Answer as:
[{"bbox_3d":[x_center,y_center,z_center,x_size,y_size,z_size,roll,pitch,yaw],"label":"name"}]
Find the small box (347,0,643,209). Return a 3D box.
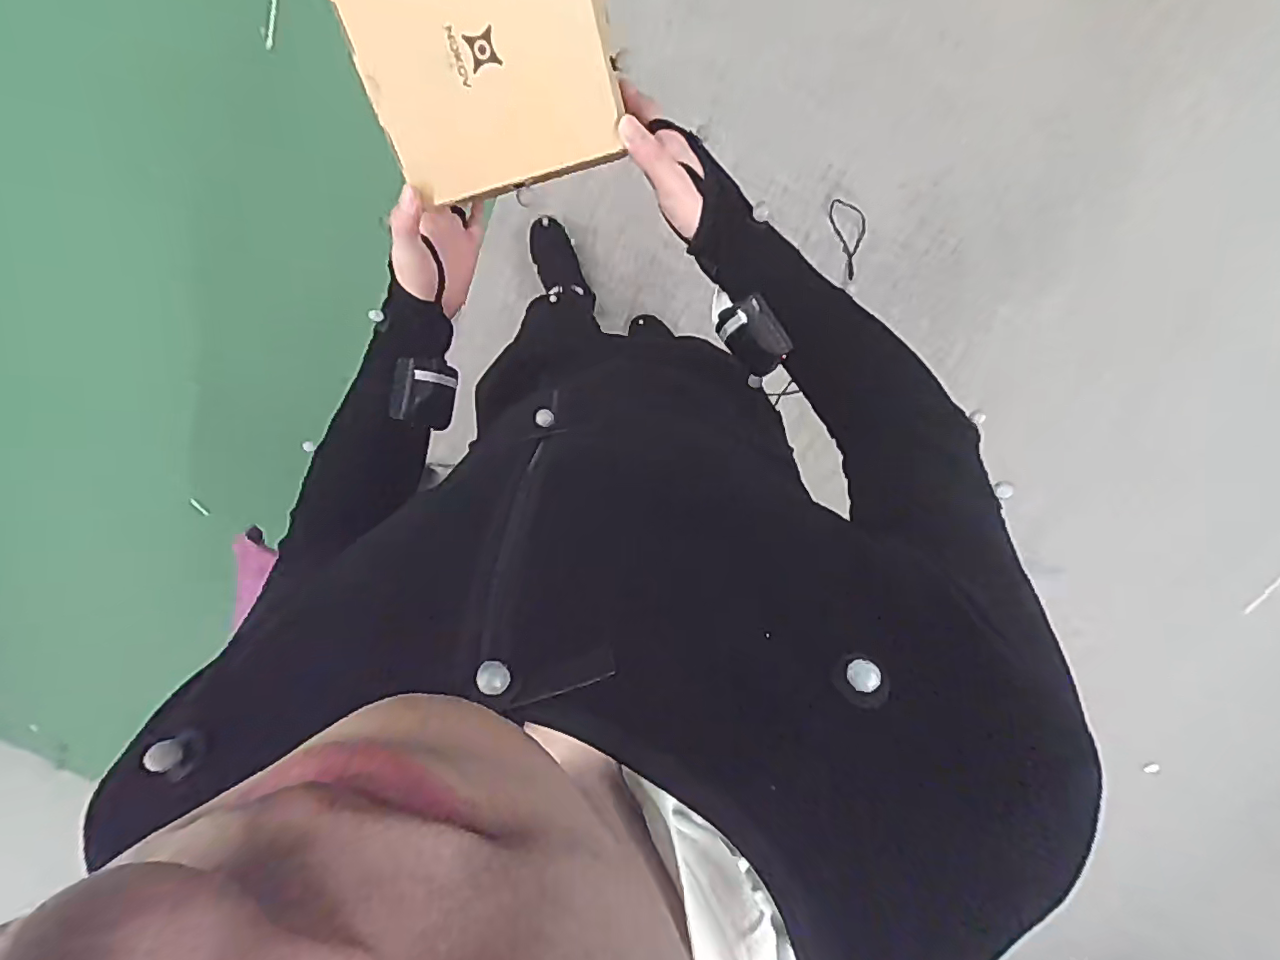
[{"bbox_3d":[-0.097,-0.340,0.444,0.179,0.176,0.168,-9,121,12],"label":"small box"}]
